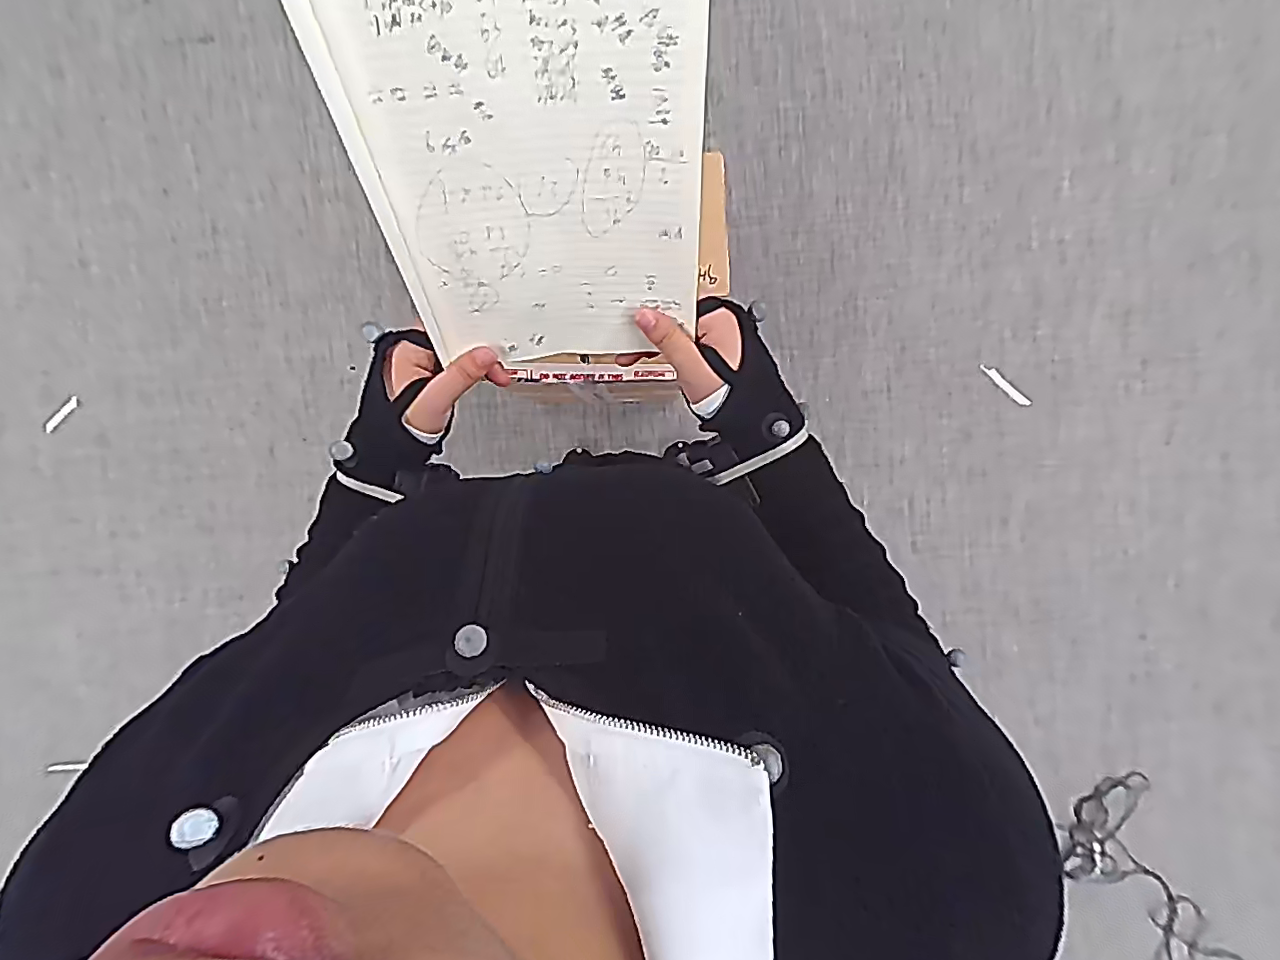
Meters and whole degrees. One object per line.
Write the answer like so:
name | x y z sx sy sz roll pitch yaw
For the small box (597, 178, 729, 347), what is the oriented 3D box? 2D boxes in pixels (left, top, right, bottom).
small box | 0.026 -0.295 0.764 0.168 0.176 0.179 -4 94 -1

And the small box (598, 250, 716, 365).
small box | 0.025 -0.298 0.928 0.179 0.176 0.168 -6 94 0
